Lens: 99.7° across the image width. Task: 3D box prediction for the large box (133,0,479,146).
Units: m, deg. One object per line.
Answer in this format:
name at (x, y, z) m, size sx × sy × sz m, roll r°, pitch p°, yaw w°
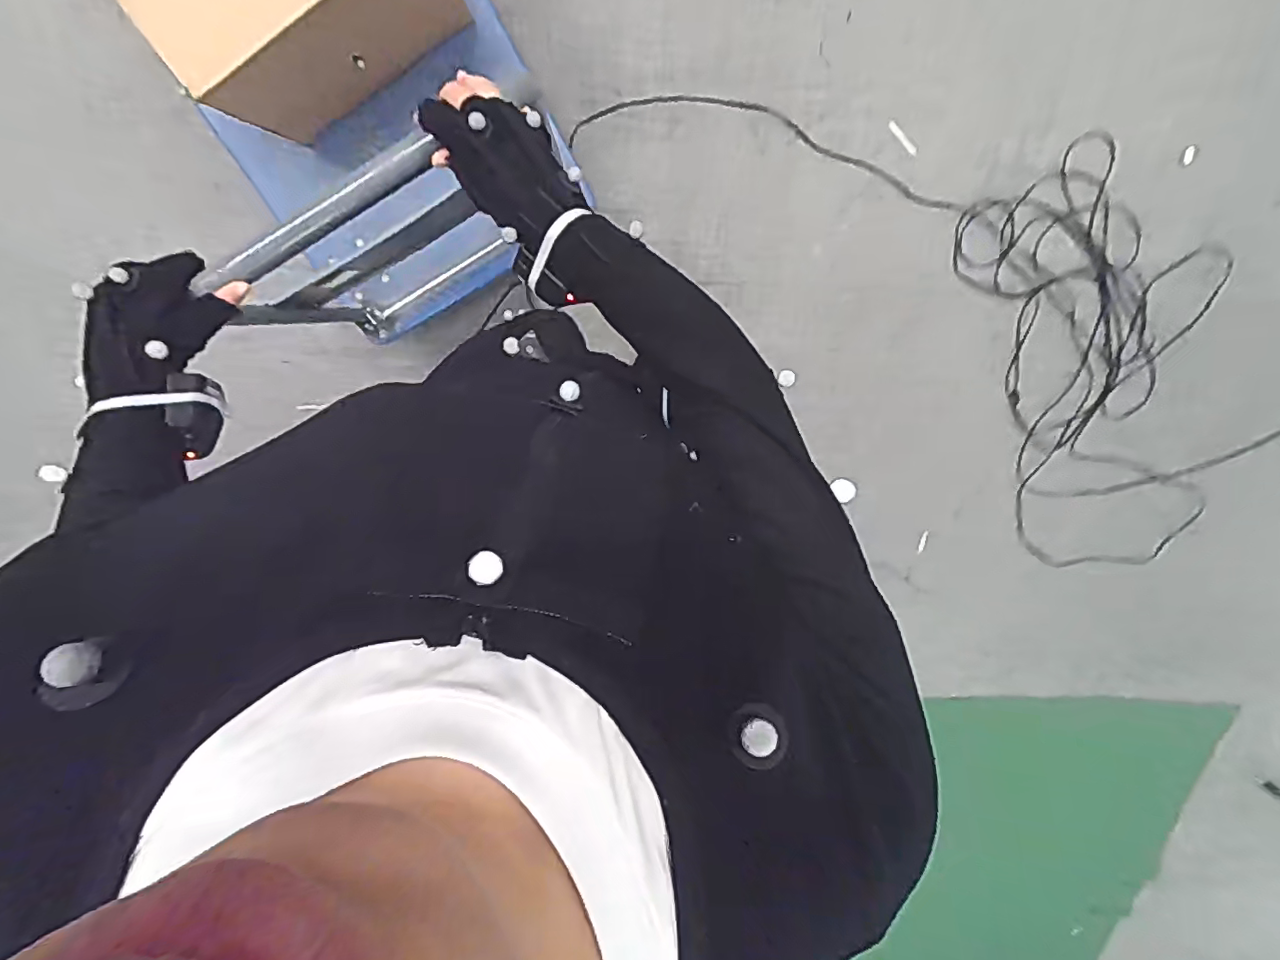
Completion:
large box at (-0.527, -0.808, 0.835) m, size 0.408 × 0.320 × 0.320 m, roll -31°, pitch 110°, yaw 9°
